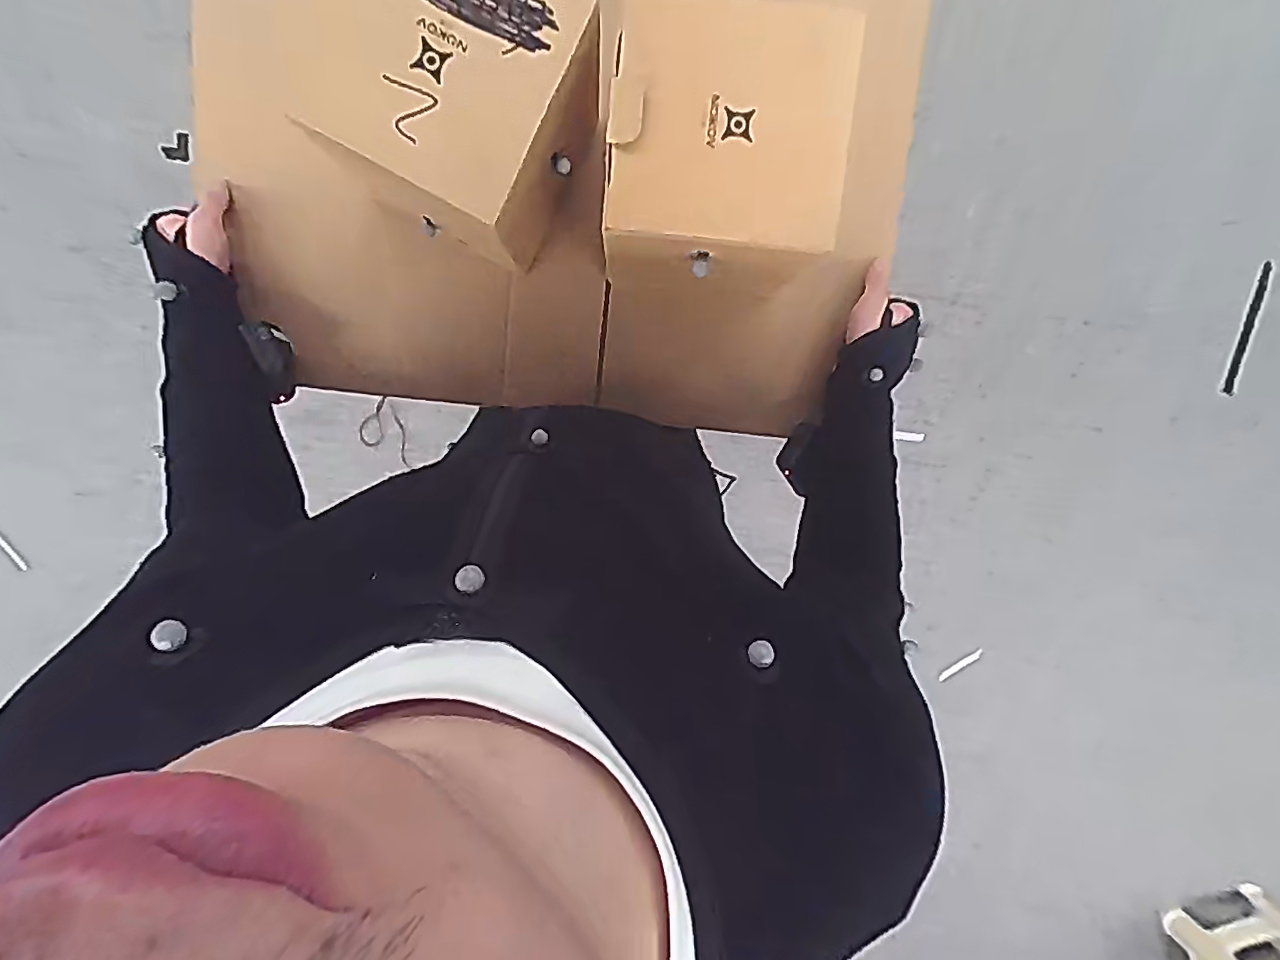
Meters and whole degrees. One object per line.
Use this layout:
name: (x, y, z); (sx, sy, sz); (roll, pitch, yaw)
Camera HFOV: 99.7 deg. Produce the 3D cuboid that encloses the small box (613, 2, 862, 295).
small box: (0.070, -0.272, 0.488); (0.179, 0.176, 0.168); (5, 97, -2)
